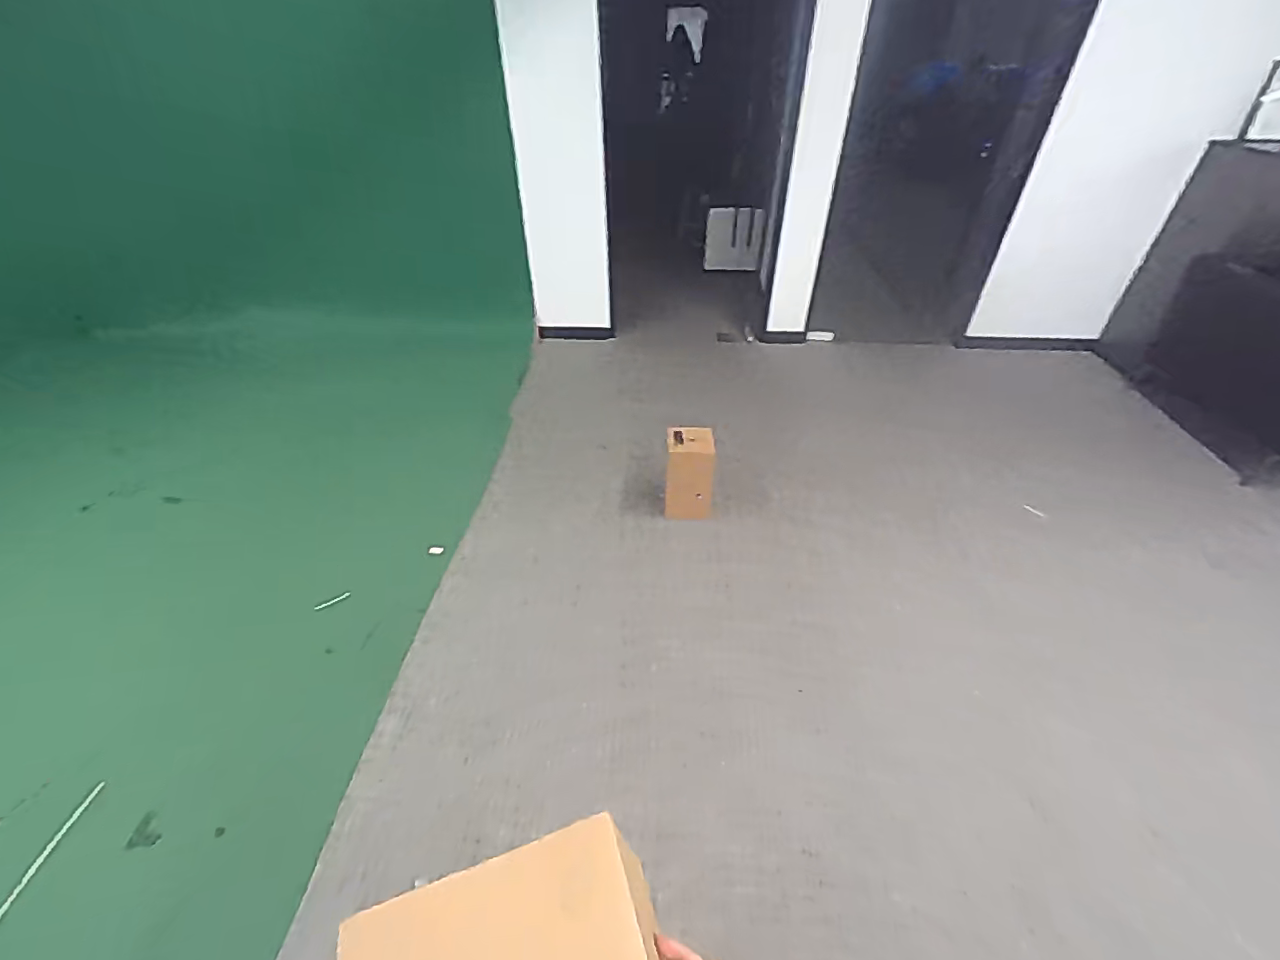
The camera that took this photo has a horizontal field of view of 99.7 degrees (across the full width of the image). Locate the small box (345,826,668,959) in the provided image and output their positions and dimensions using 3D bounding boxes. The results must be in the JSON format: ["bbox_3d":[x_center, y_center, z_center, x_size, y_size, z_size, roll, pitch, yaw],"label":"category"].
[{"bbox_3d":[-0.063,0.357,0.344,0.179,0.176,0.168,-19,46,-8],"label":"small box"}]
